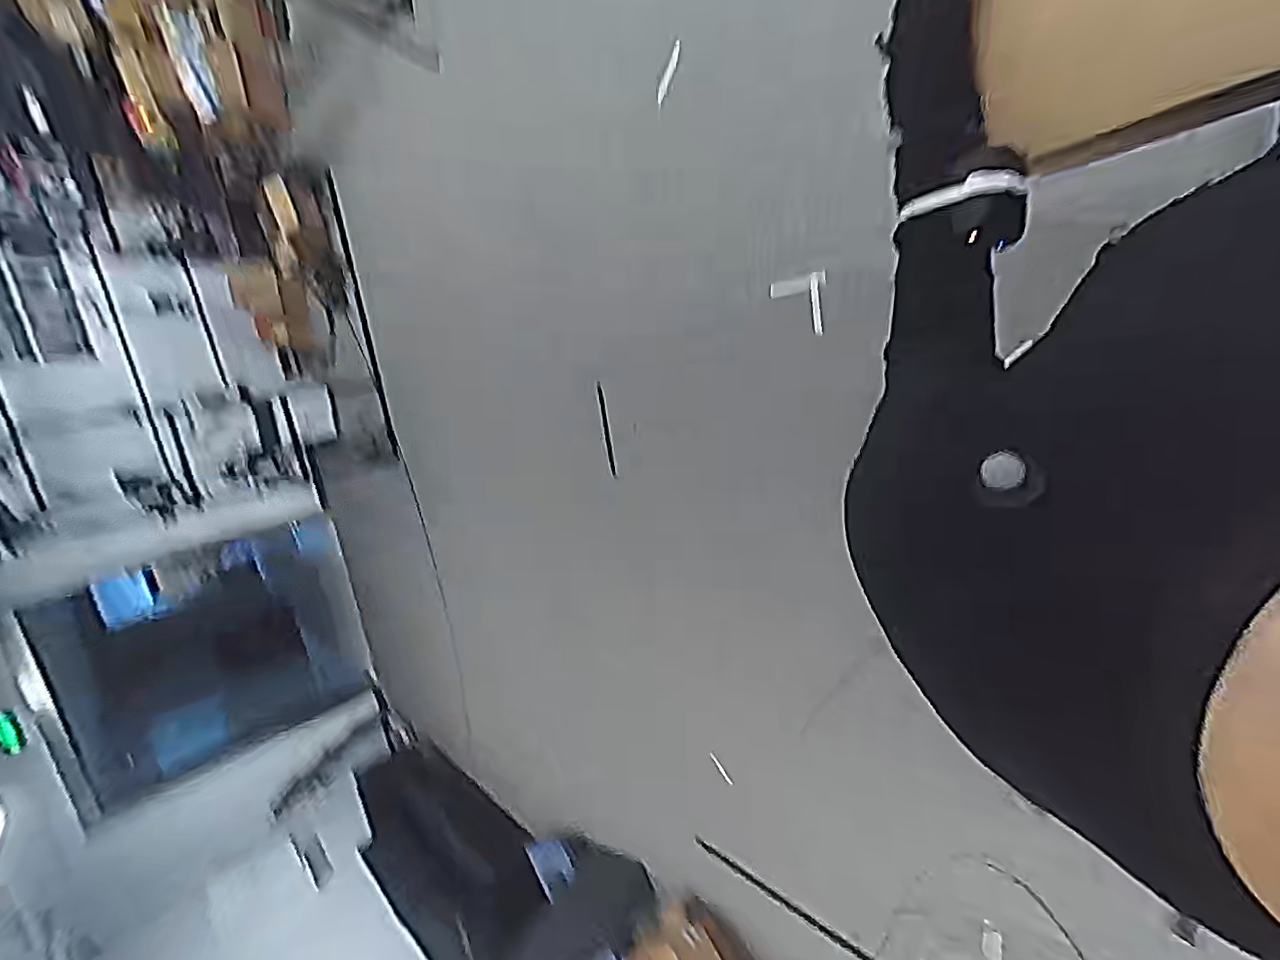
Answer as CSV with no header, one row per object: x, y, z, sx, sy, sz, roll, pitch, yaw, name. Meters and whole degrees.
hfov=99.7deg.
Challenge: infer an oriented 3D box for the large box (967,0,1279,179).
0.492,-0.464,0.391,0.408,0.320,0.320,-3,110,45,large box
